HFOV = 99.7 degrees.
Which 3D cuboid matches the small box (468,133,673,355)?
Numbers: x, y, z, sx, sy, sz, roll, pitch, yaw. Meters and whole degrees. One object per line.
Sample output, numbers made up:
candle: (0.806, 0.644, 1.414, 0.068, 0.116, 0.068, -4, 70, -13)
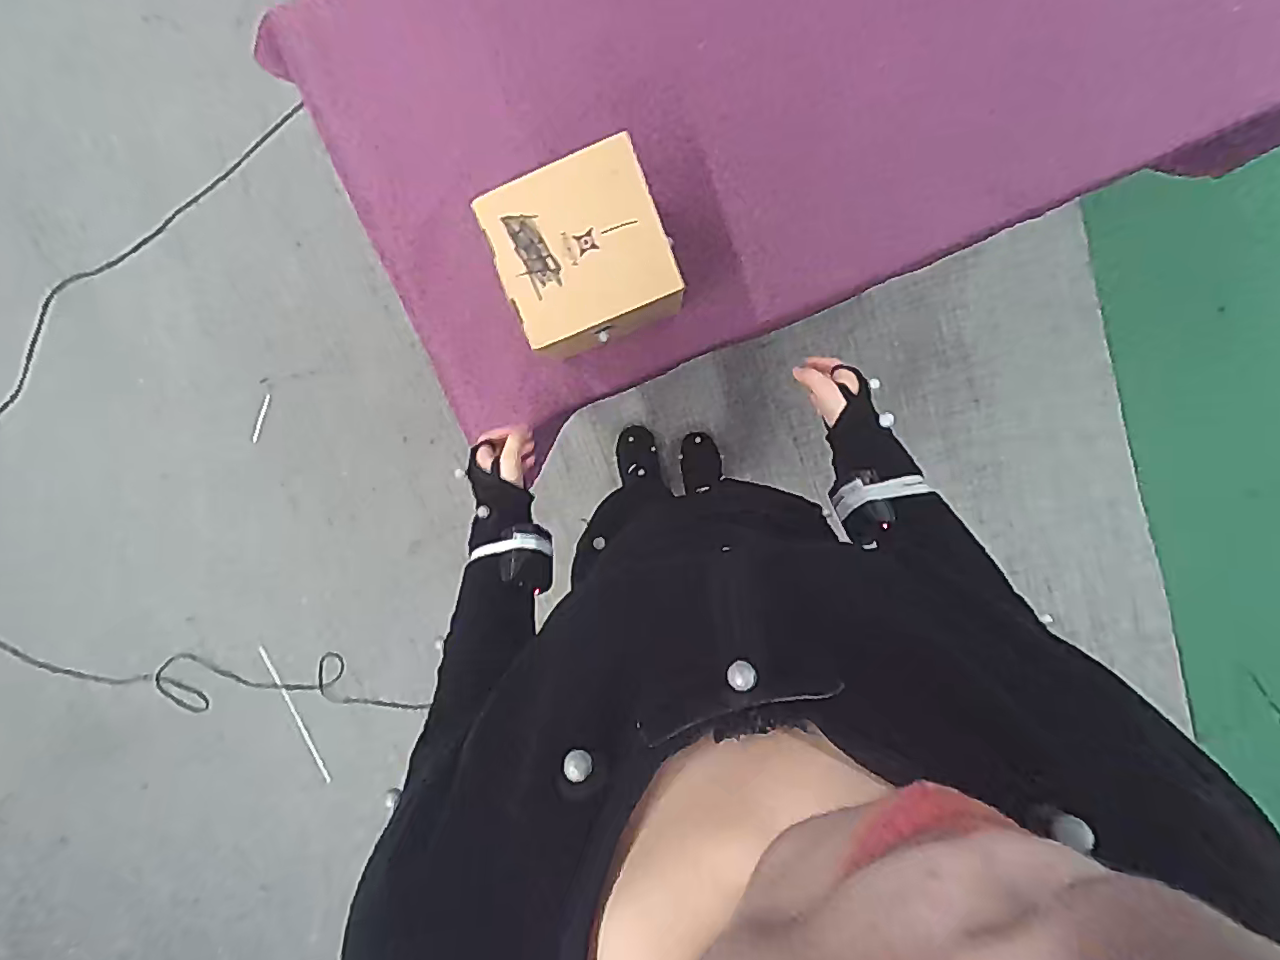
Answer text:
small box: (-0.068, -0.258, 0.640, 0.179, 0.176, 0.168, -21, 98, 5)
